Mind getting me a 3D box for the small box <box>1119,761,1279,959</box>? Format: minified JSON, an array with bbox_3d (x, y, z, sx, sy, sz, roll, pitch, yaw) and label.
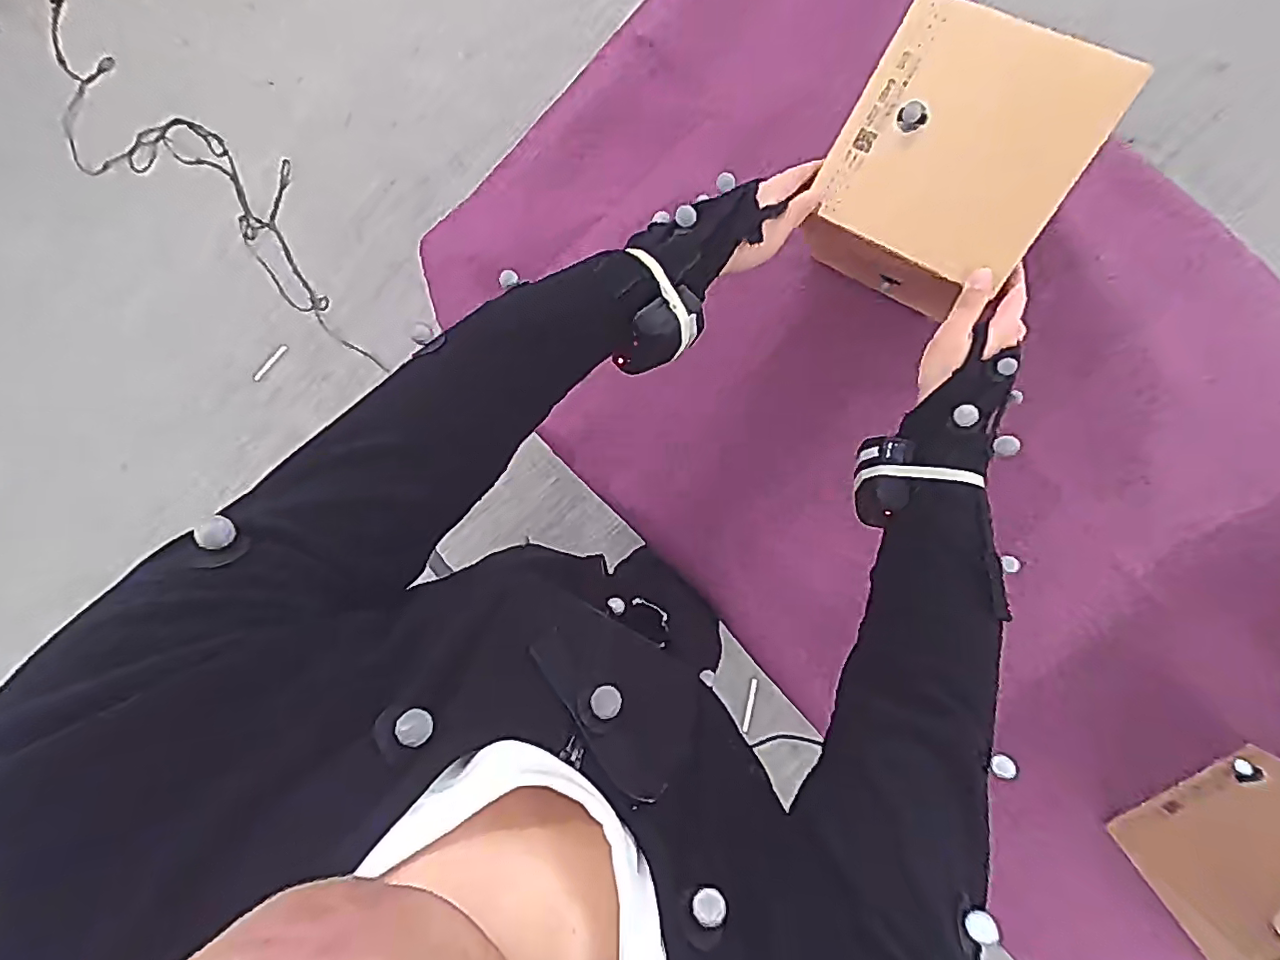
[{"bbox_3d":[0.583,0.377,0.461,0.168,0.176,0.179,-37,86,8],"label":"small box"}]
